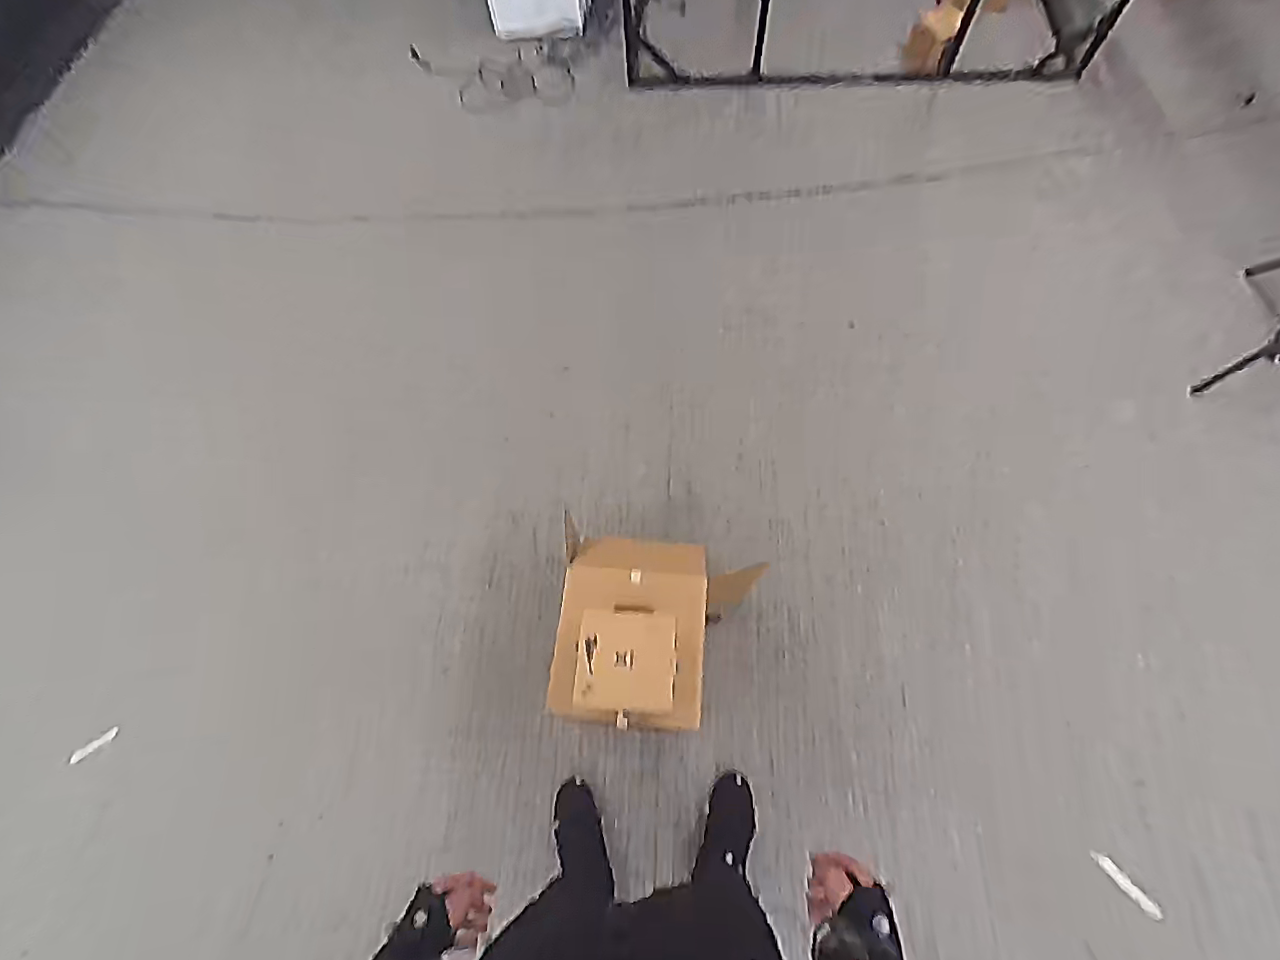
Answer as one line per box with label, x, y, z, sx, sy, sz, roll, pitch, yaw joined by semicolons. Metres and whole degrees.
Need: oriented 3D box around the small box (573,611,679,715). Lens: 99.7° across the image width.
small box;-0.020;0.351;1.034;0.179;0.176;0.168;3;68;4
